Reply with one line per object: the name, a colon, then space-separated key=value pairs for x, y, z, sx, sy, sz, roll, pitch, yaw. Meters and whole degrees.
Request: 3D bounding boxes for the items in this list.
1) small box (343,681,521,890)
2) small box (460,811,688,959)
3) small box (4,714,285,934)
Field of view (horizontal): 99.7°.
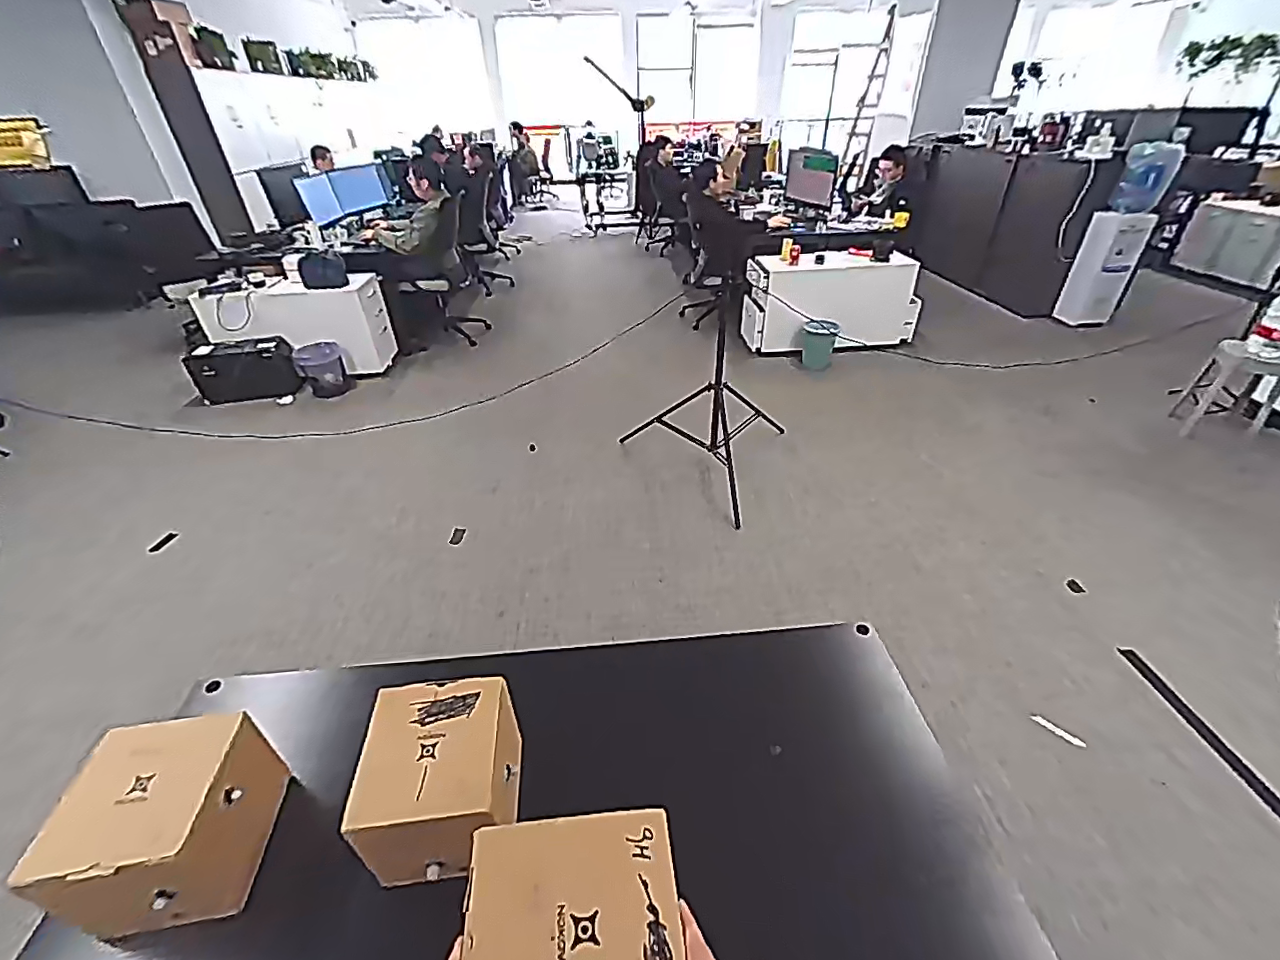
small box: x=-0.252 y=0.394 z=0.706 sx=0.168 sy=0.176 sz=0.179 roll=-5 pitch=36 yaw=-5
small box: x=-0.054 y=0.422 z=0.472 sx=0.179 sy=0.176 sz=0.168 roll=-2 pitch=37 yaw=-7
small box: x=-0.581 y=0.427 z=0.672 sx=0.168 sy=0.176 sz=0.179 roll=-5 pitch=35 yaw=-8
